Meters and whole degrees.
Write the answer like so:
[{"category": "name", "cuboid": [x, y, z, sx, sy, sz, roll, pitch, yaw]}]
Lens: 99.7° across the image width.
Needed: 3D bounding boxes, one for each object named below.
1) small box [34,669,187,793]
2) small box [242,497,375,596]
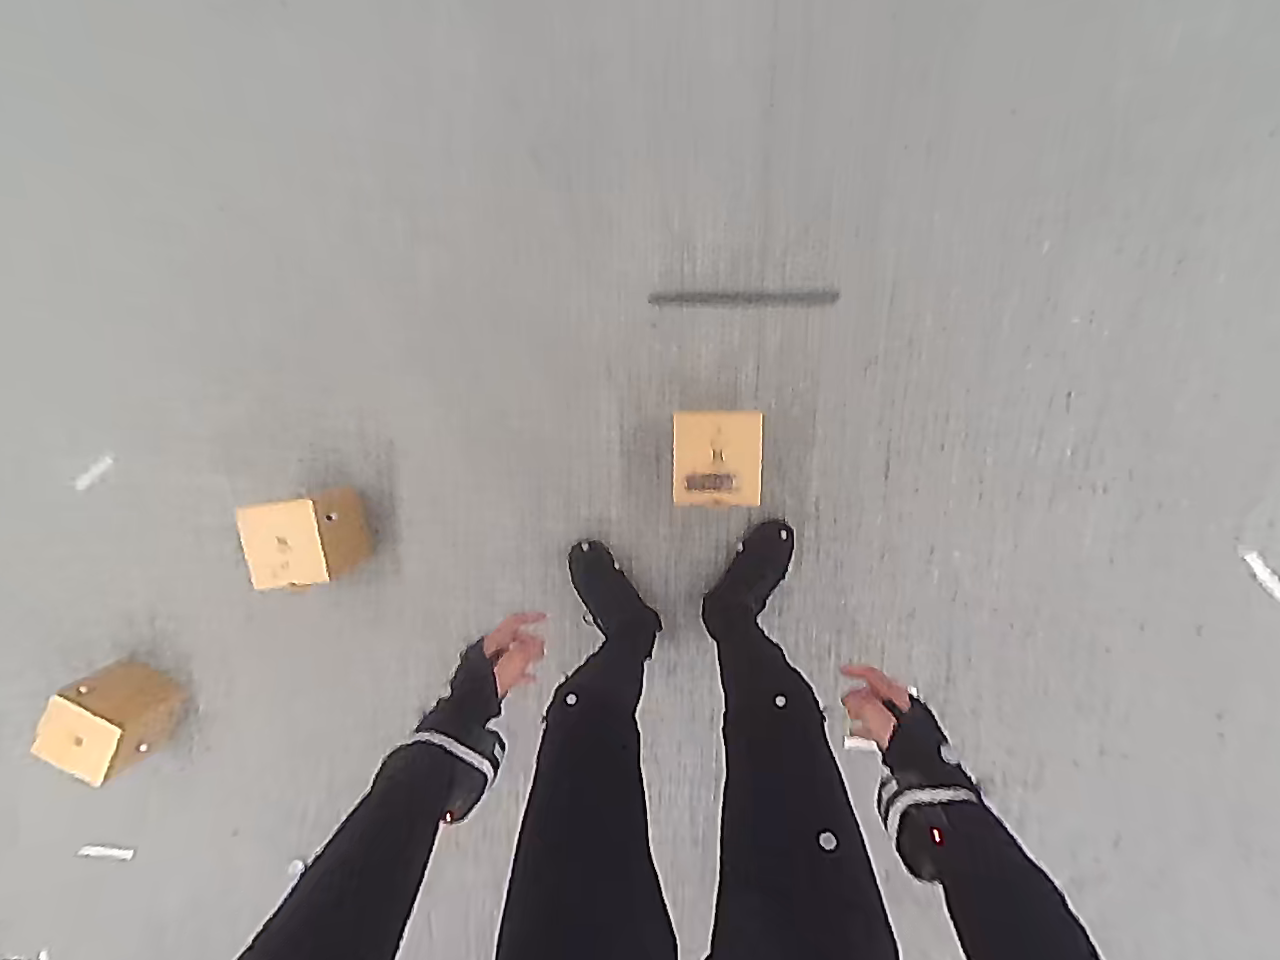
[{"category": "small box", "cuboid": [-1.225, 0.576, 1.265, 0.179, 0.176, 0.168, 28, 98, 0]}, {"category": "small box", "cuboid": [-0.708, 0.136, 1.174, 0.168, 0.176, 0.179, -8, 97, 4]}]
